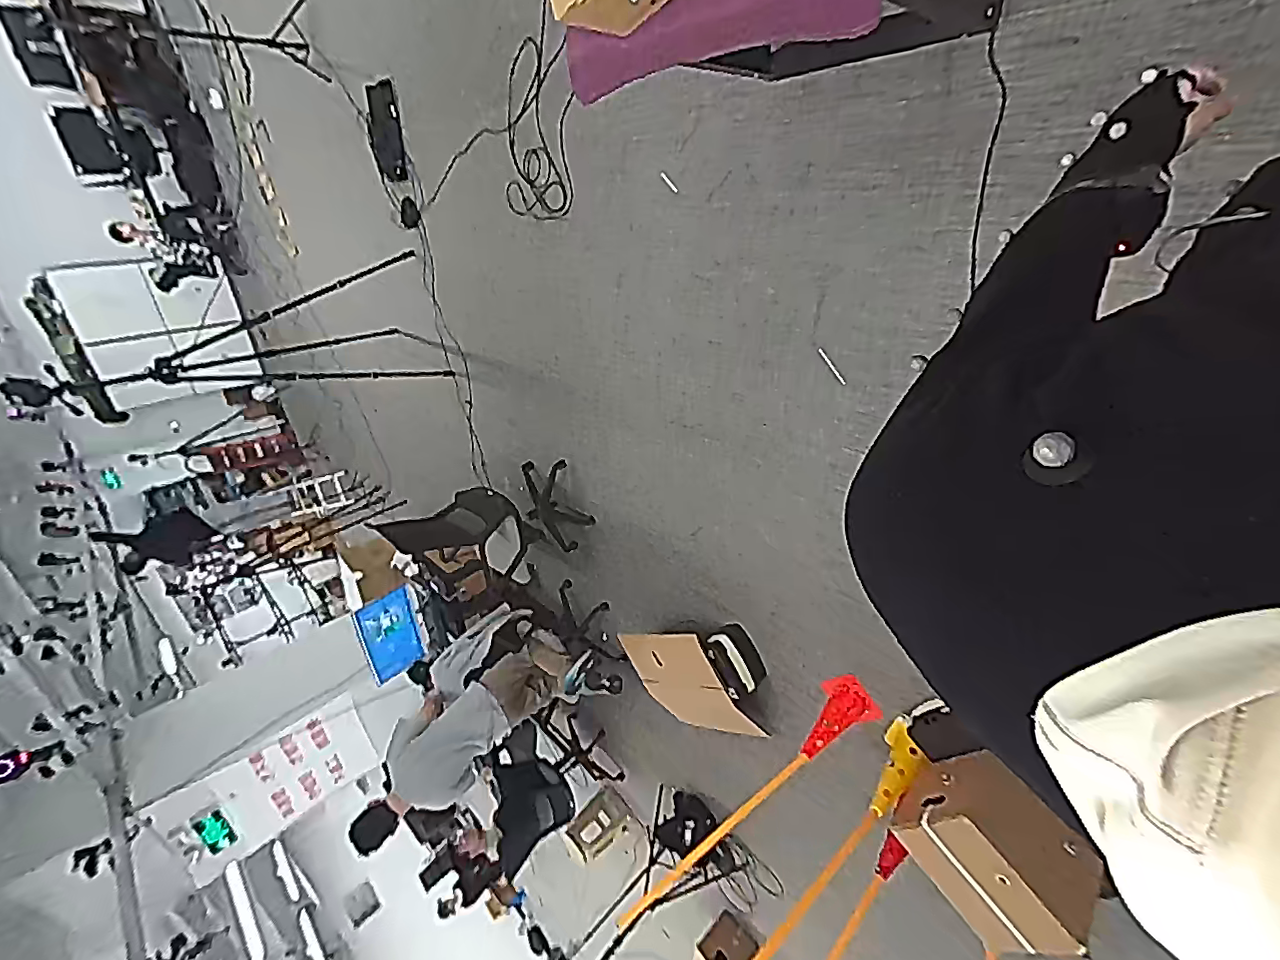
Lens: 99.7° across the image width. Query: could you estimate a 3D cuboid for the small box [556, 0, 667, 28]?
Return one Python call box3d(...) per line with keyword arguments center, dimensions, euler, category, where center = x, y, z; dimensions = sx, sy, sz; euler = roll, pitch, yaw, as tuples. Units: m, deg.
box3d(center=(-0.042, -0.885, 0.889), dimensions=(0.168, 0.176, 0.179), euler=(5, 115, 47), category="small box")
